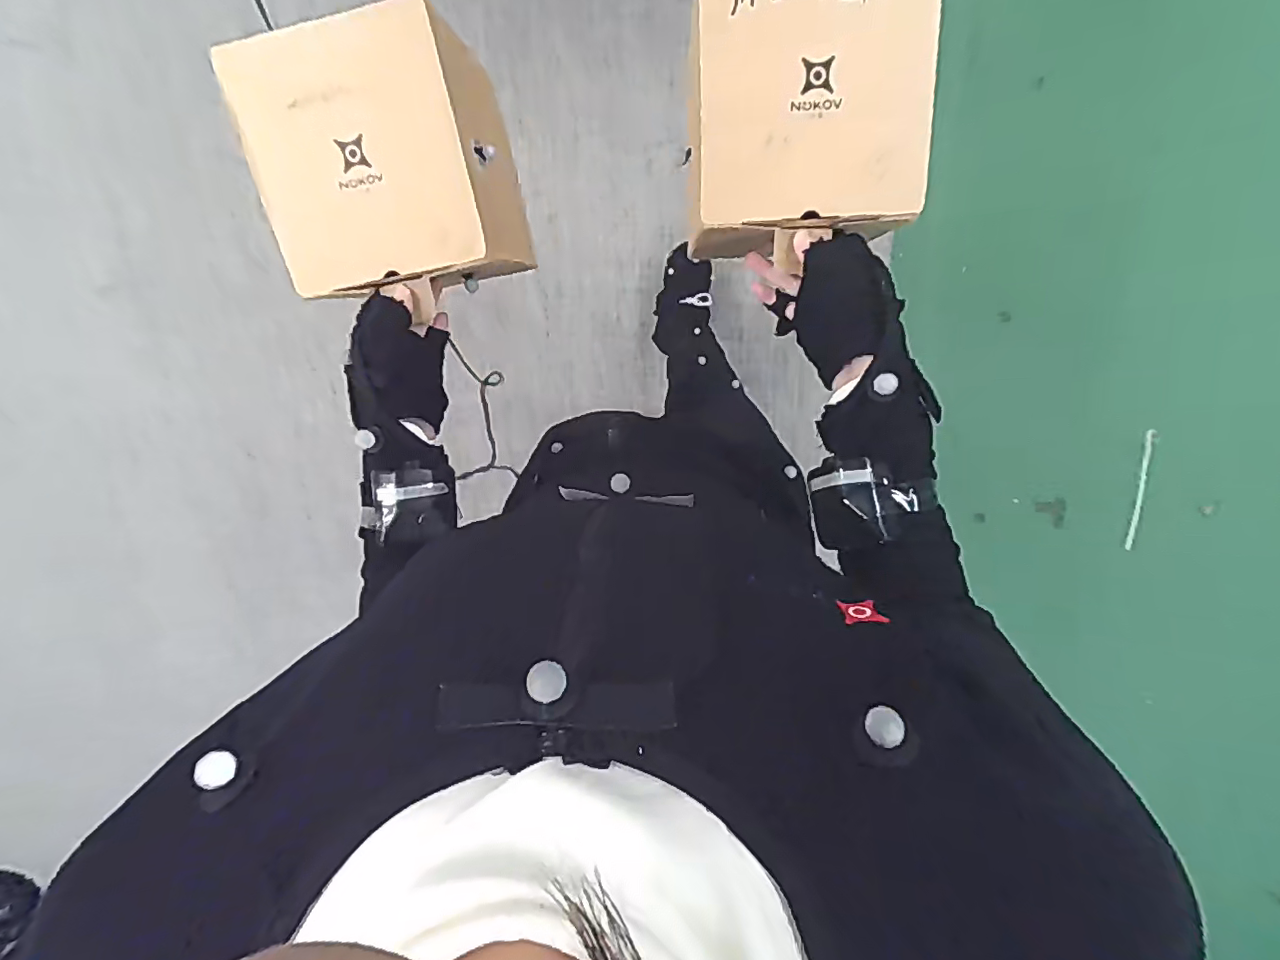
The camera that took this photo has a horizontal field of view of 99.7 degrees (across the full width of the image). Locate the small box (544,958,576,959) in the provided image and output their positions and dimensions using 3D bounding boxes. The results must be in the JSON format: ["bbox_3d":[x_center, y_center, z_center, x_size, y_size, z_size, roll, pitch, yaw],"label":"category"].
[{"bbox_3d":[-0.195,1.343,1.347,0.179,0.176,0.168,-1,97,4],"label":"small box"}]

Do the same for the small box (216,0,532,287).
[{"bbox_3d":[-0.210,-0.281,0.487,0.168,0.176,0.179,-10,109,7],"label":"small box"}]
